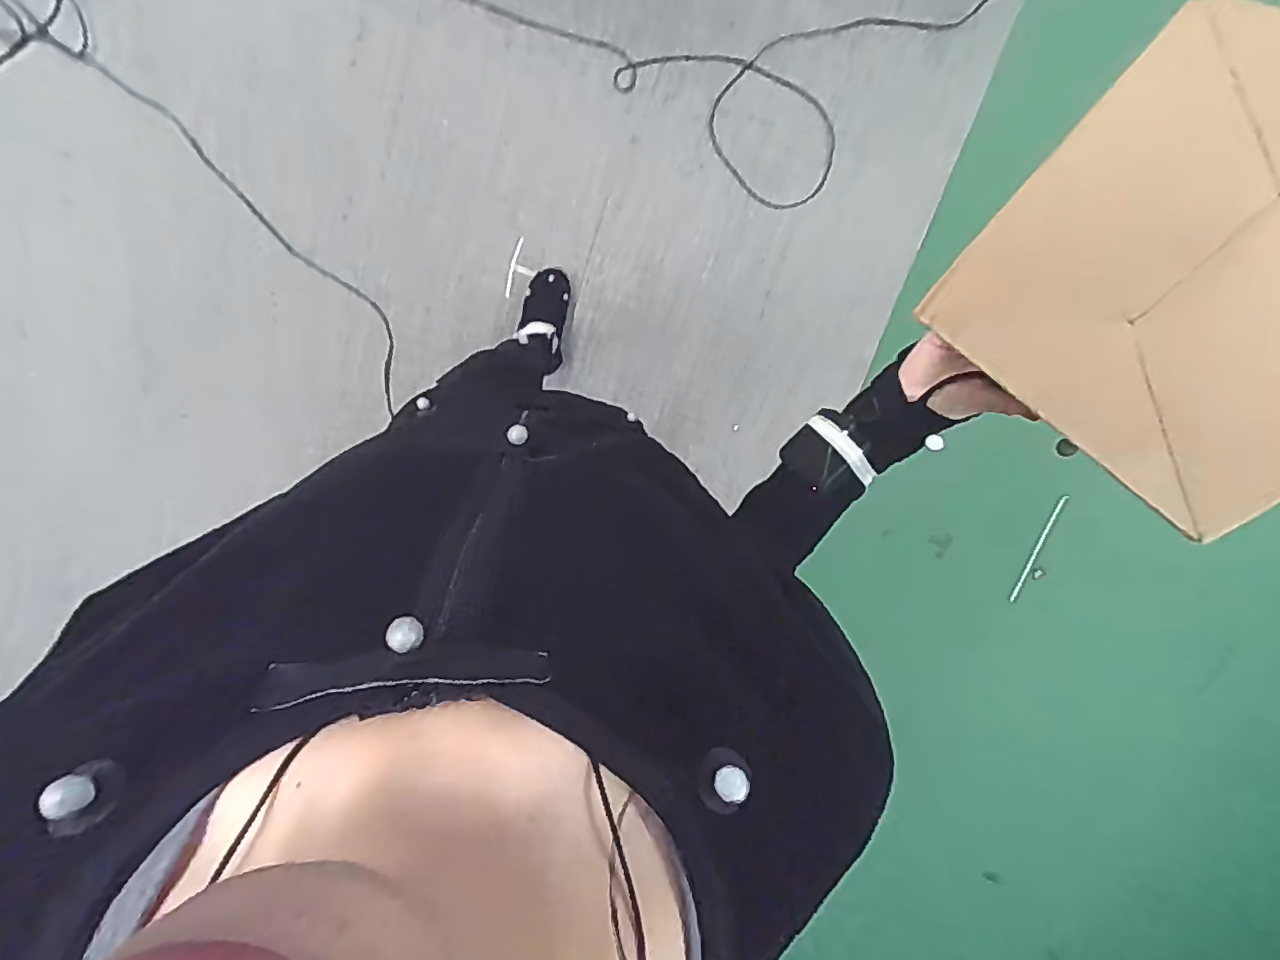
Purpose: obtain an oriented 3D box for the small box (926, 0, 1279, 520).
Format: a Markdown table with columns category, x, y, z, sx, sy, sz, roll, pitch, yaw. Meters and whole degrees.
| category | x | y | z | sx | sy | sz | roll | pitch | yaw |
| --- | --- | --- | --- | --- | --- | --- | --- | --- | --- |
| small box | 0.292 | -0.093 | 0.280 | 0.176 | 0.179 | 0.168 | 3 | 134 | -43 |
